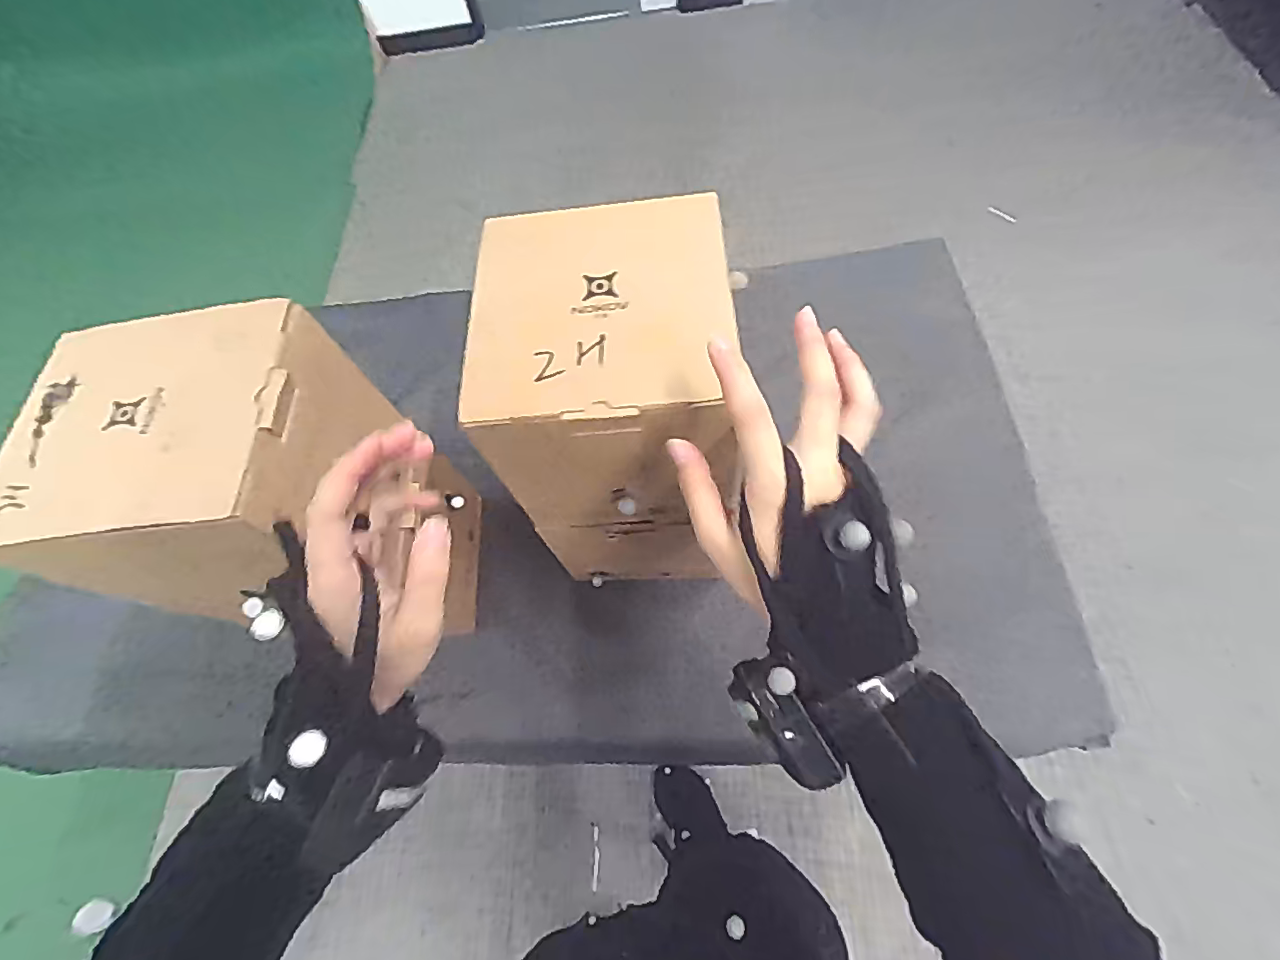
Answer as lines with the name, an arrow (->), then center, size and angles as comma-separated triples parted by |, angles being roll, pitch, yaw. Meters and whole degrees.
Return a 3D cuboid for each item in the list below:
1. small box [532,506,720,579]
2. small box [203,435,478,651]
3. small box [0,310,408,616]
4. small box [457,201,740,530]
small box -> -0.002, 0.000, 0.560 | 0.168, 0.176, 0.179 | -2, 63, 6
small box -> -0.281, 0.073, 0.559 | 0.179, 0.176, 0.168 | -7, 62, 4
small box -> -0.303, -0.001, 0.413 | 0.179, 0.176, 0.168 | -6, 62, 3
small box -> -0.018, -0.076, 0.414 | 0.168, 0.176, 0.179 | -4, 63, 5
